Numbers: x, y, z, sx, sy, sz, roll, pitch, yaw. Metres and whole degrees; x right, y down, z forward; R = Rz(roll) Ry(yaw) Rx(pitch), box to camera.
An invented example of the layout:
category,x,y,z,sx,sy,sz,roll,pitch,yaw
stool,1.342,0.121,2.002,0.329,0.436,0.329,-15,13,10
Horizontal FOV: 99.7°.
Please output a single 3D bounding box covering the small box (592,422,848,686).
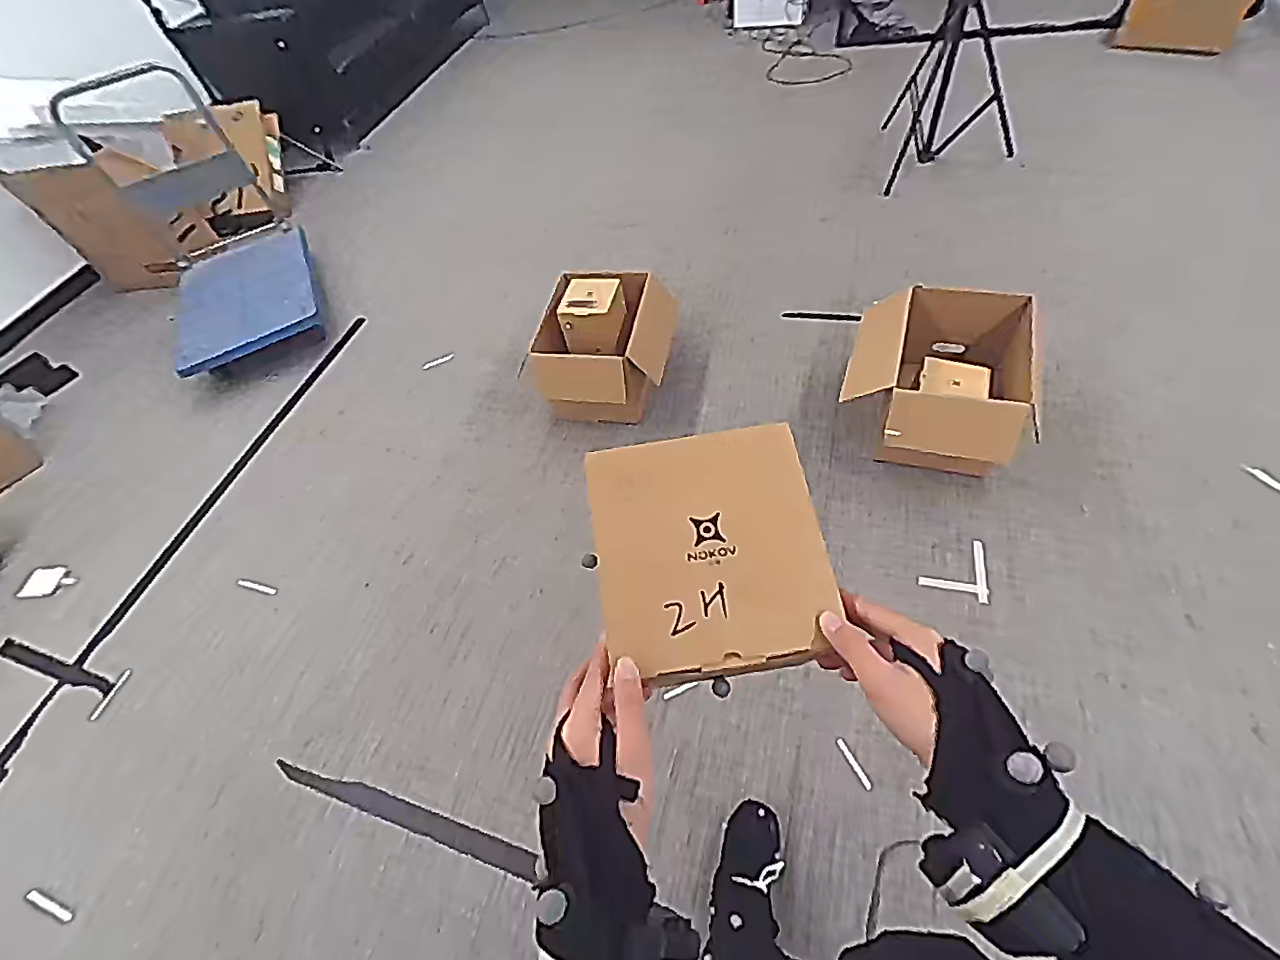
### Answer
category,x,y,z,sx,sy,sz,roll,pitch,yaw
small box,0.054,0.073,0.473,0.168,0.176,0.179,-9,66,0
